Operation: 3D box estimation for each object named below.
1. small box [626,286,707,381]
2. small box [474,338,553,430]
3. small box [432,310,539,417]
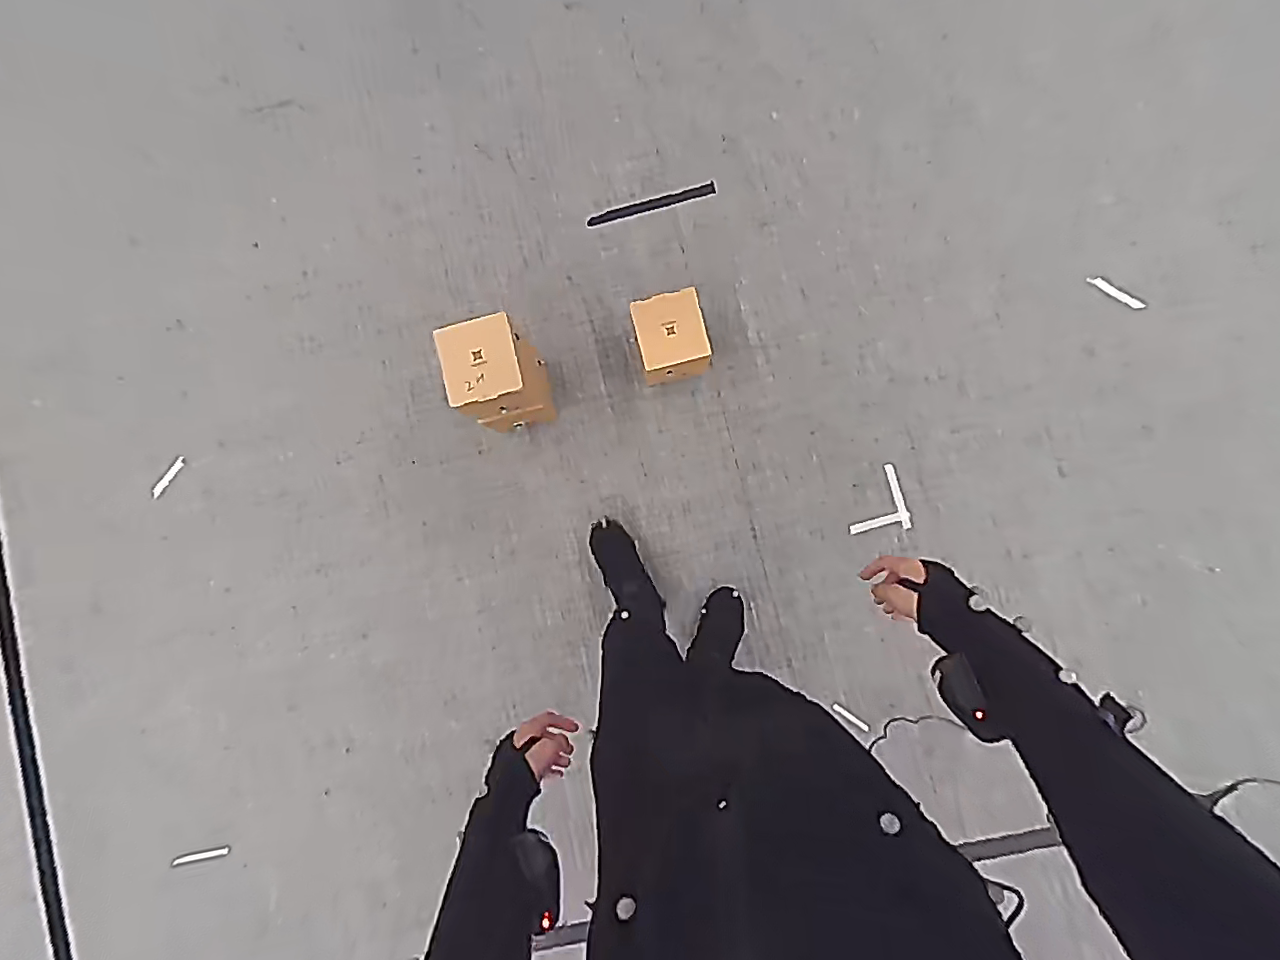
[{"bbox_3d":[0.067,-0.363,1.383,0.168,0.176,0.179,-15,86,1],"label":"small box"},{"bbox_3d":[-0.334,-0.240,1.391,0.168,0.176,0.179,-14,86,3],"label":"small box"},{"bbox_3d":[-0.343,-0.257,1.228,0.168,0.176,0.179,-14,87,3],"label":"small box"}]
